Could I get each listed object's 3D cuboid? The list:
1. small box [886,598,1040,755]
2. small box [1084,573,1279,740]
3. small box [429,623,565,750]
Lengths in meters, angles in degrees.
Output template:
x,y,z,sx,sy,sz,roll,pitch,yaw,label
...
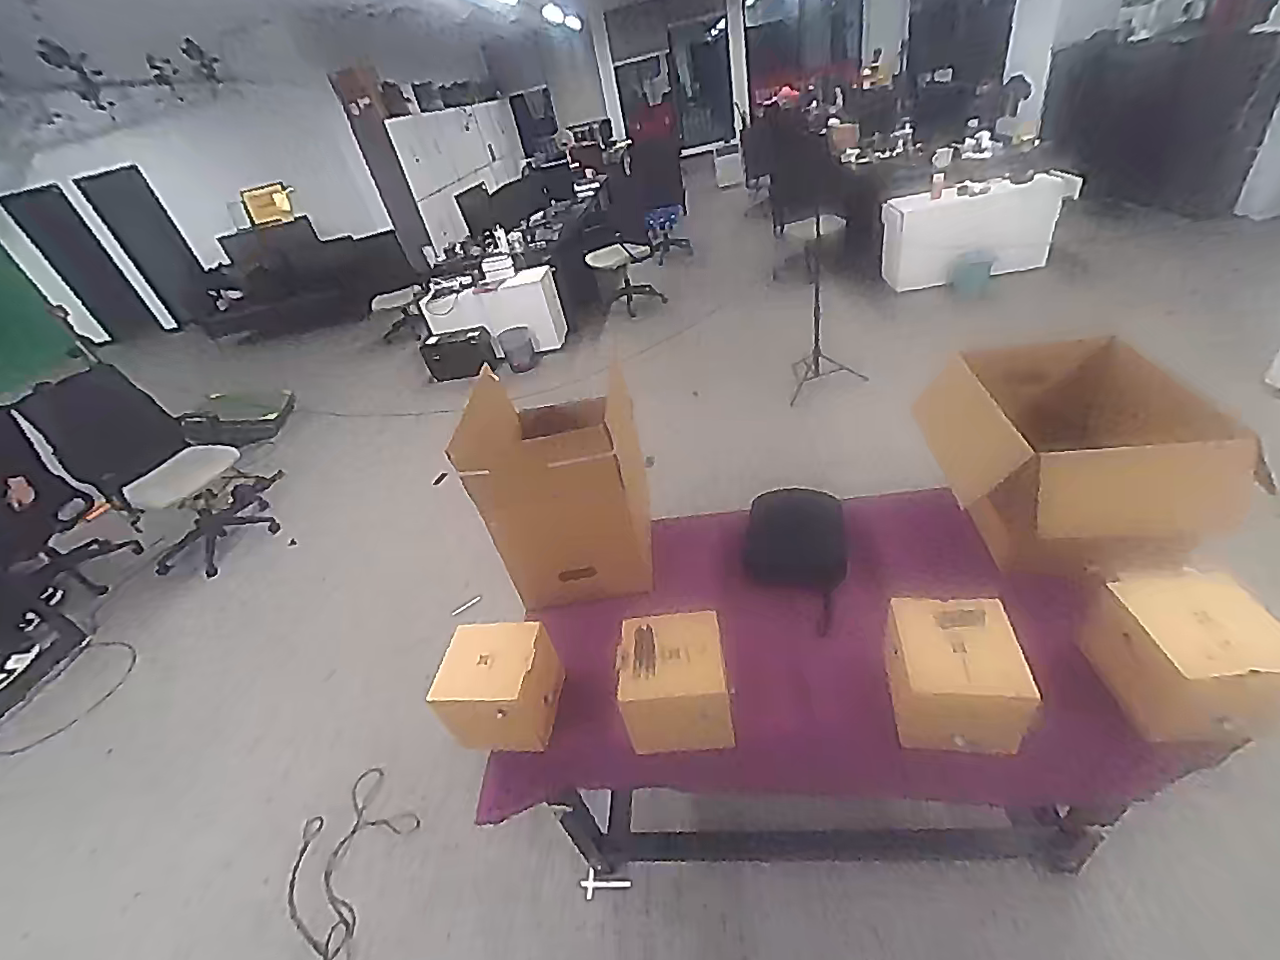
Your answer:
x,y,z,sx,sy,sz,roll,pitch,yaw,label
0.505,0.314,0.877,0.168,0.176,0.179,-3,38,15,small box
0.830,0.268,0.824,0.168,0.176,0.179,-8,36,10,small box
-0.260,0.394,1.030,0.179,0.176,0.168,-5,36,11,small box
